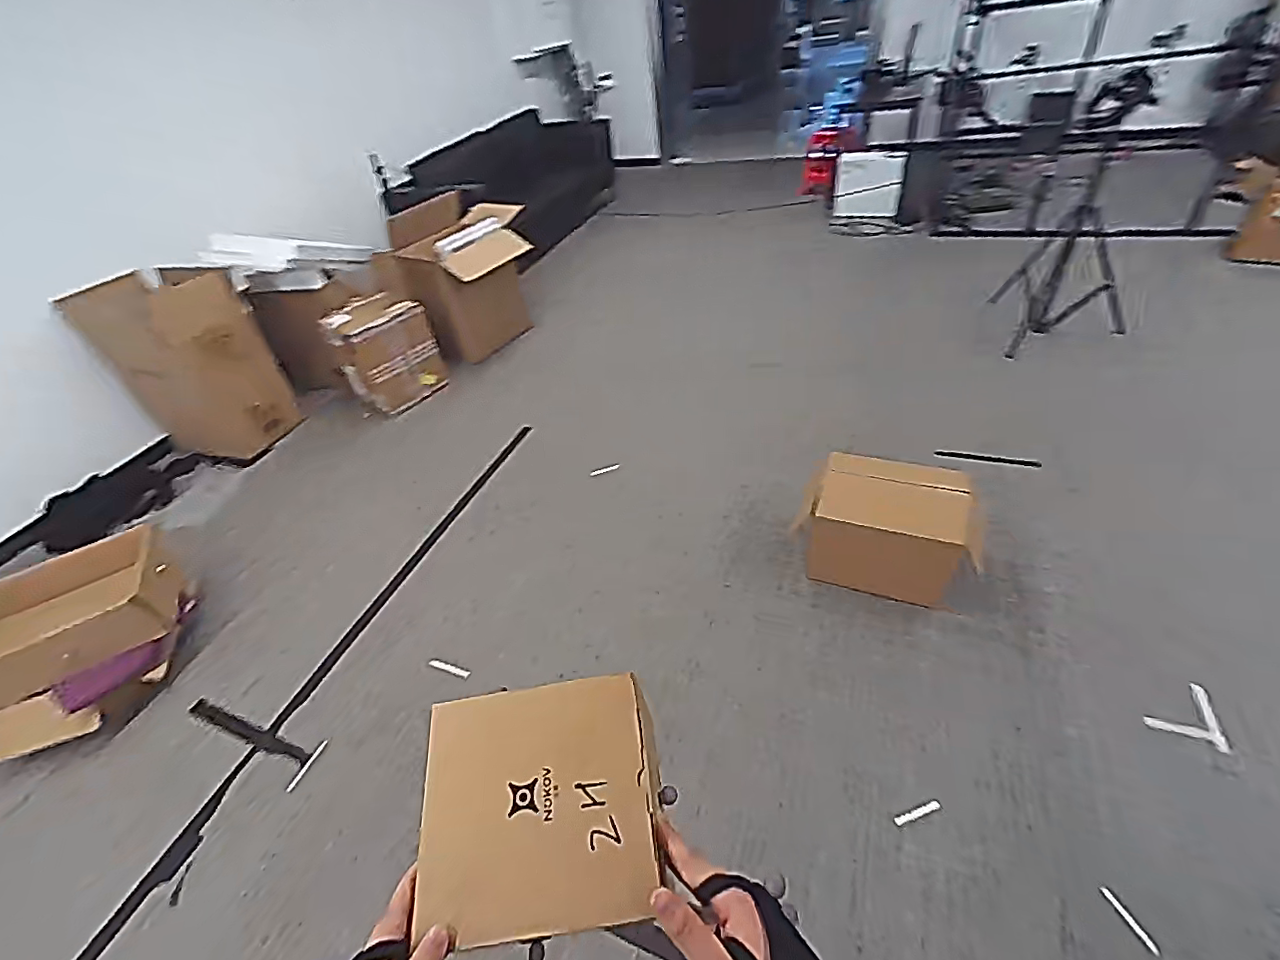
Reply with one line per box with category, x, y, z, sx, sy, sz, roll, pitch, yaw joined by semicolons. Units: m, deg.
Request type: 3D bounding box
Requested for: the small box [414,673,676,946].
small box;-0.070;0.289;0.478;0.179;0.176;0.168;-9;54;1
